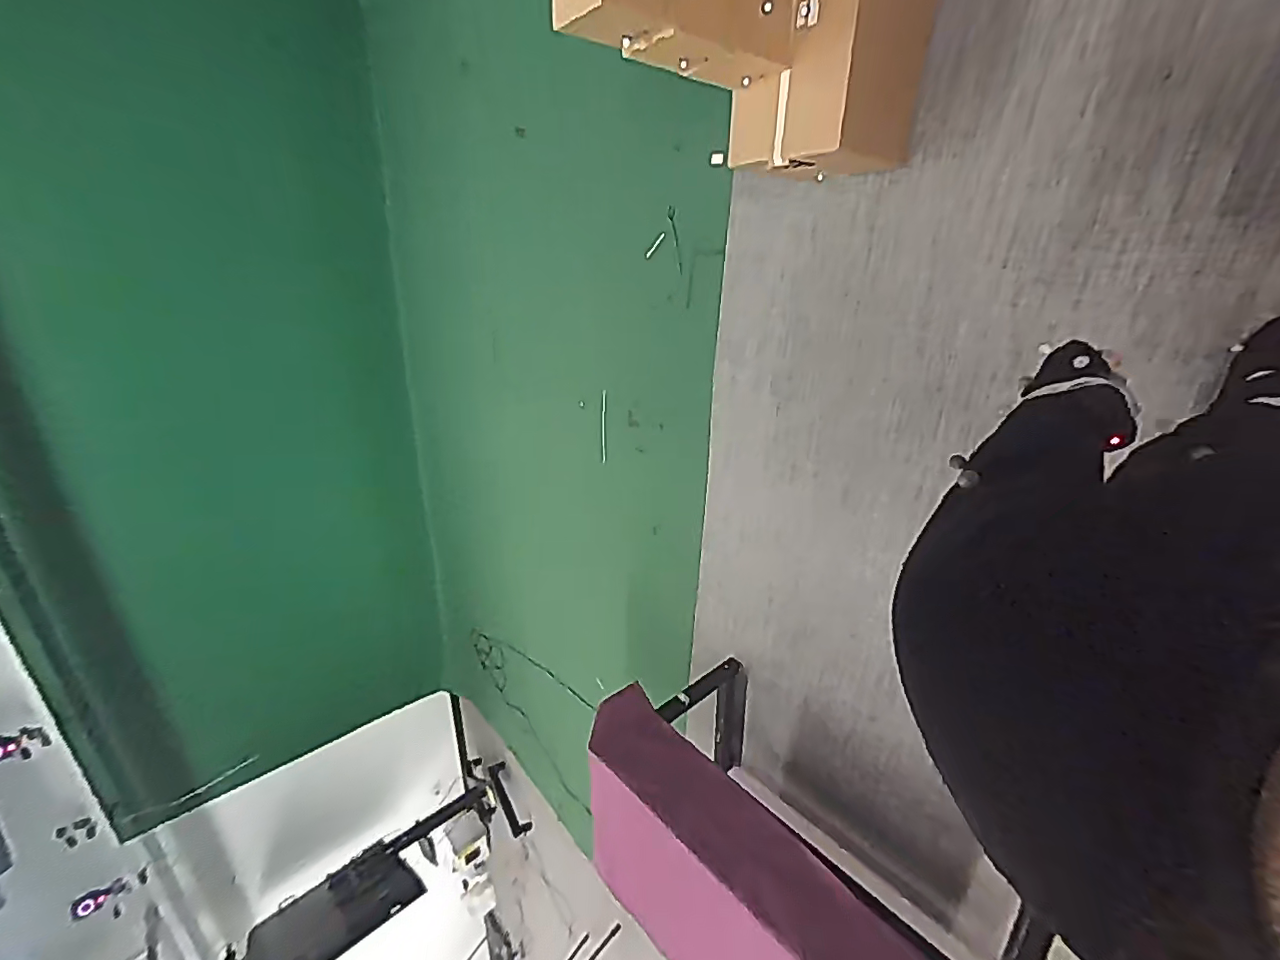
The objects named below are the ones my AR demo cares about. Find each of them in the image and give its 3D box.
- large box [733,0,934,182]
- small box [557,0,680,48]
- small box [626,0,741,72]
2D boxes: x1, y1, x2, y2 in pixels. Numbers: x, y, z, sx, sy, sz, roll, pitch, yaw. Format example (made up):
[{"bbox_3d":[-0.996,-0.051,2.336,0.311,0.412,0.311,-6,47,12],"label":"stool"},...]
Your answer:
[{"bbox_3d":[0.451,-0.965,1.283,0.320,0.320,0.408,24,121,44],"label":"large box"},{"bbox_3d":[-0.037,-0.917,0.971,0.168,0.176,0.179,29,126,46],"label":"small box"},{"bbox_3d":[0.088,-0.949,1.072,0.168,0.176,0.179,26,124,47],"label":"small box"}]
